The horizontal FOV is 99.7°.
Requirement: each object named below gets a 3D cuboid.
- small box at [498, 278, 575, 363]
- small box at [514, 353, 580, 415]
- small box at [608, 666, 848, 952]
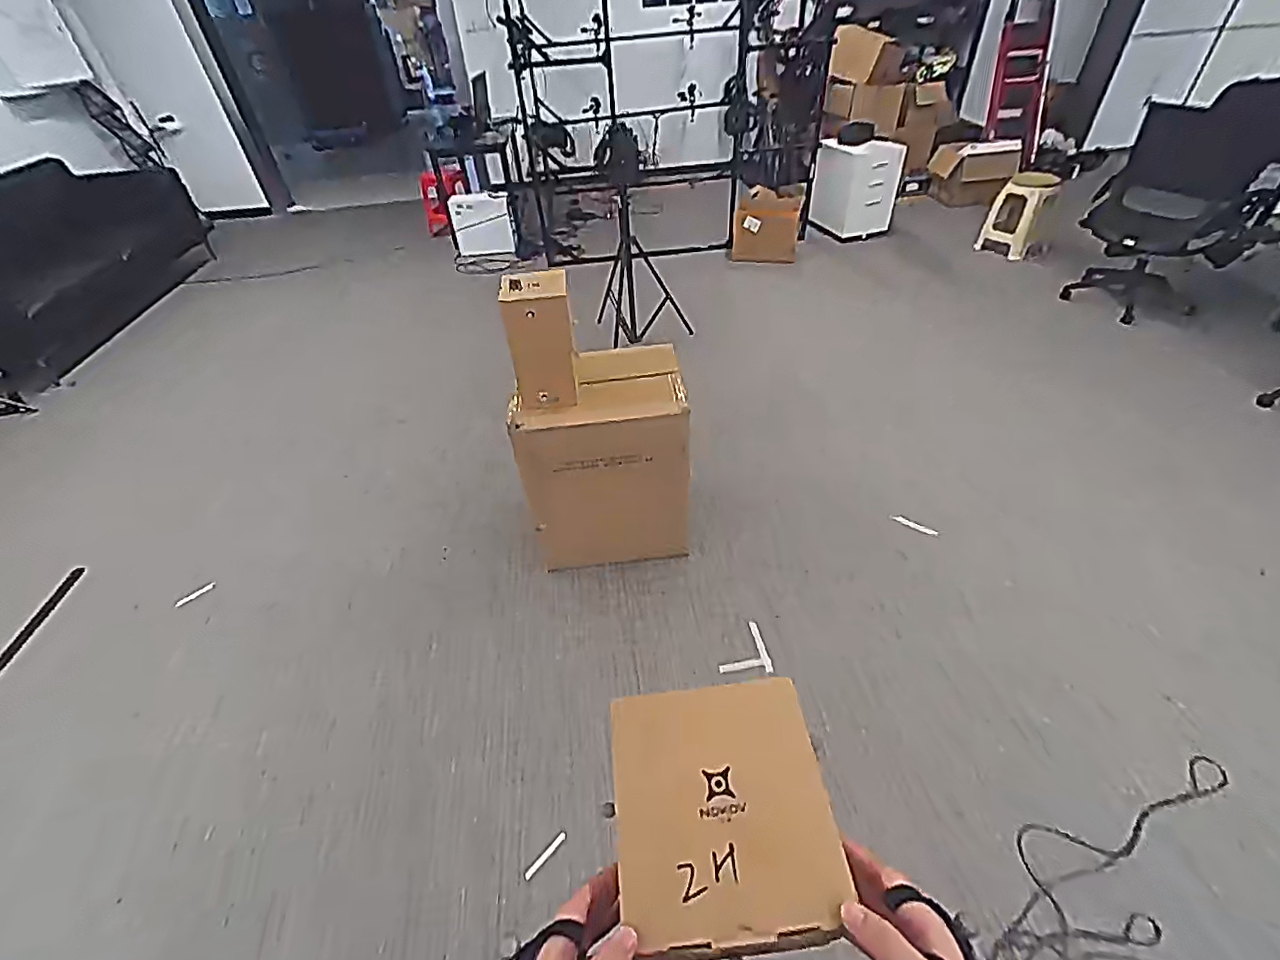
[{"bbox_3d":[-0.276,-0.433,1.481,0.179,0.176,0.168,-7,43,-3],"label":"small box"},{"bbox_3d":[-0.269,-0.314,1.594,0.168,0.176,0.179,-7,44,-2],"label":"small box"},{"bbox_3d":[0.063,0.296,0.488,0.168,0.176,0.179,-8,45,0],"label":"small box"}]
